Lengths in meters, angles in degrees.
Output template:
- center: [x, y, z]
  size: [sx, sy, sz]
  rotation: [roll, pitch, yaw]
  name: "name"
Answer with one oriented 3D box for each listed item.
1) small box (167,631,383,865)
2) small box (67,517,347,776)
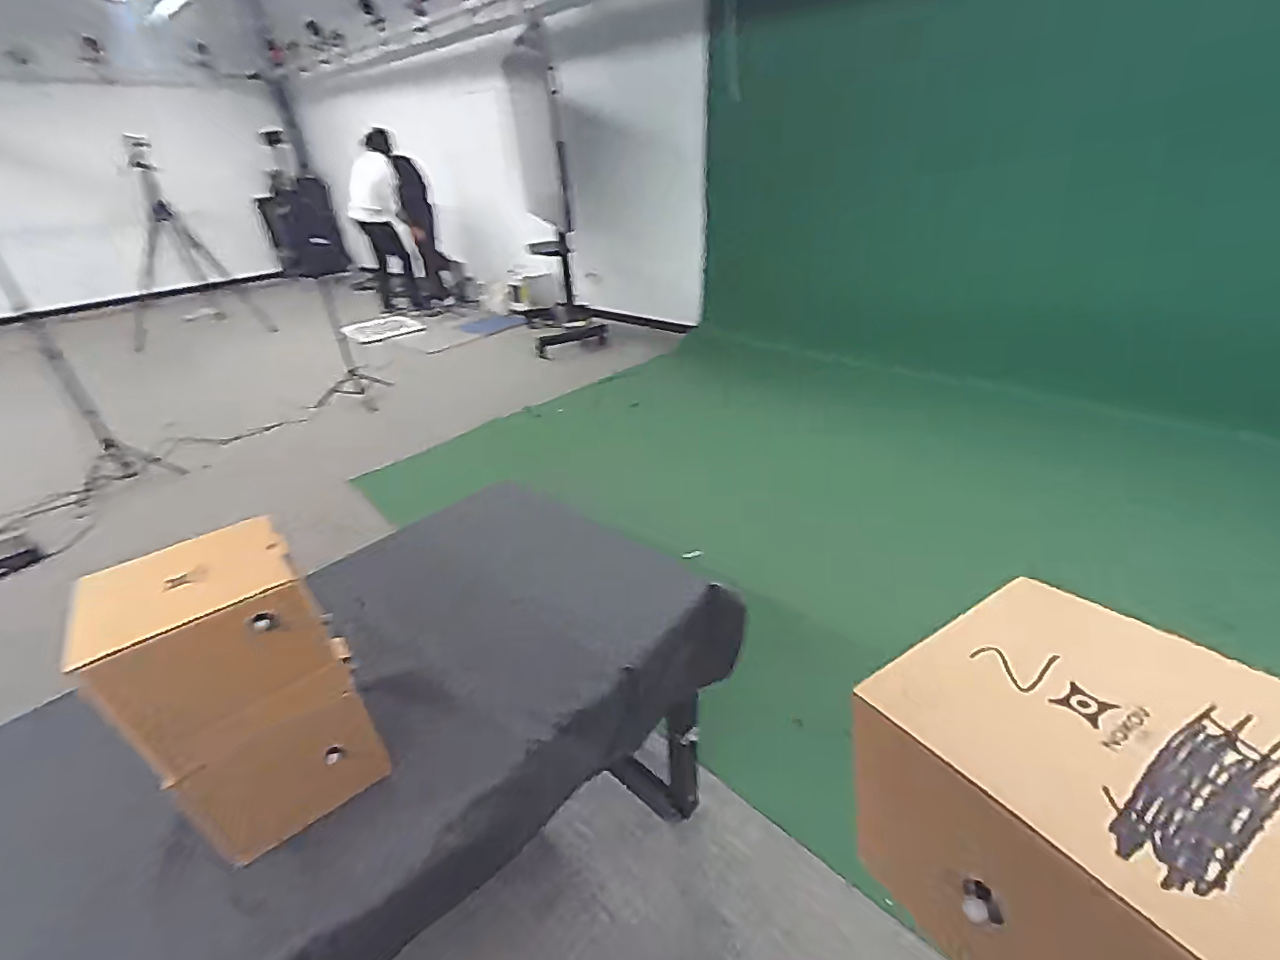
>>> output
- center: [-0.441, 0.313, 0.669]
  size: [0.179, 0.176, 0.168]
  rotation: [-26, 37, -31]
  name: "small box"
- center: [-0.454, 0.172, 0.588]
  size: [0.179, 0.176, 0.168]
  rotation: [-25, 36, -32]
  name: "small box"
